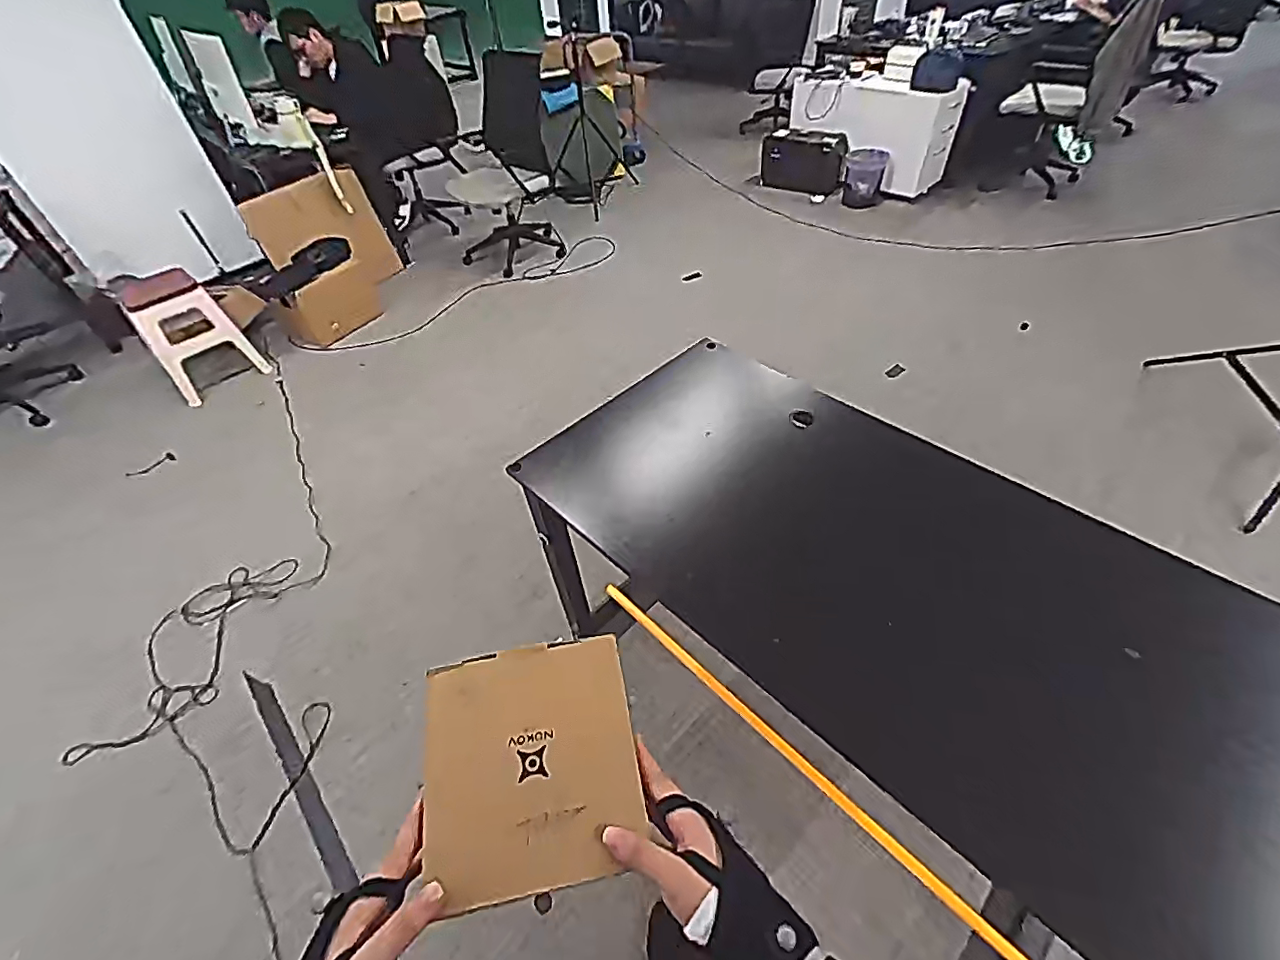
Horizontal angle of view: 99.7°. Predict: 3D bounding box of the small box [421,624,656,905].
[{"bbox_3d":[-0.089,0.252,0.488,0.168,0.176,0.179,-8,58,-9],"label":"small box"}]
